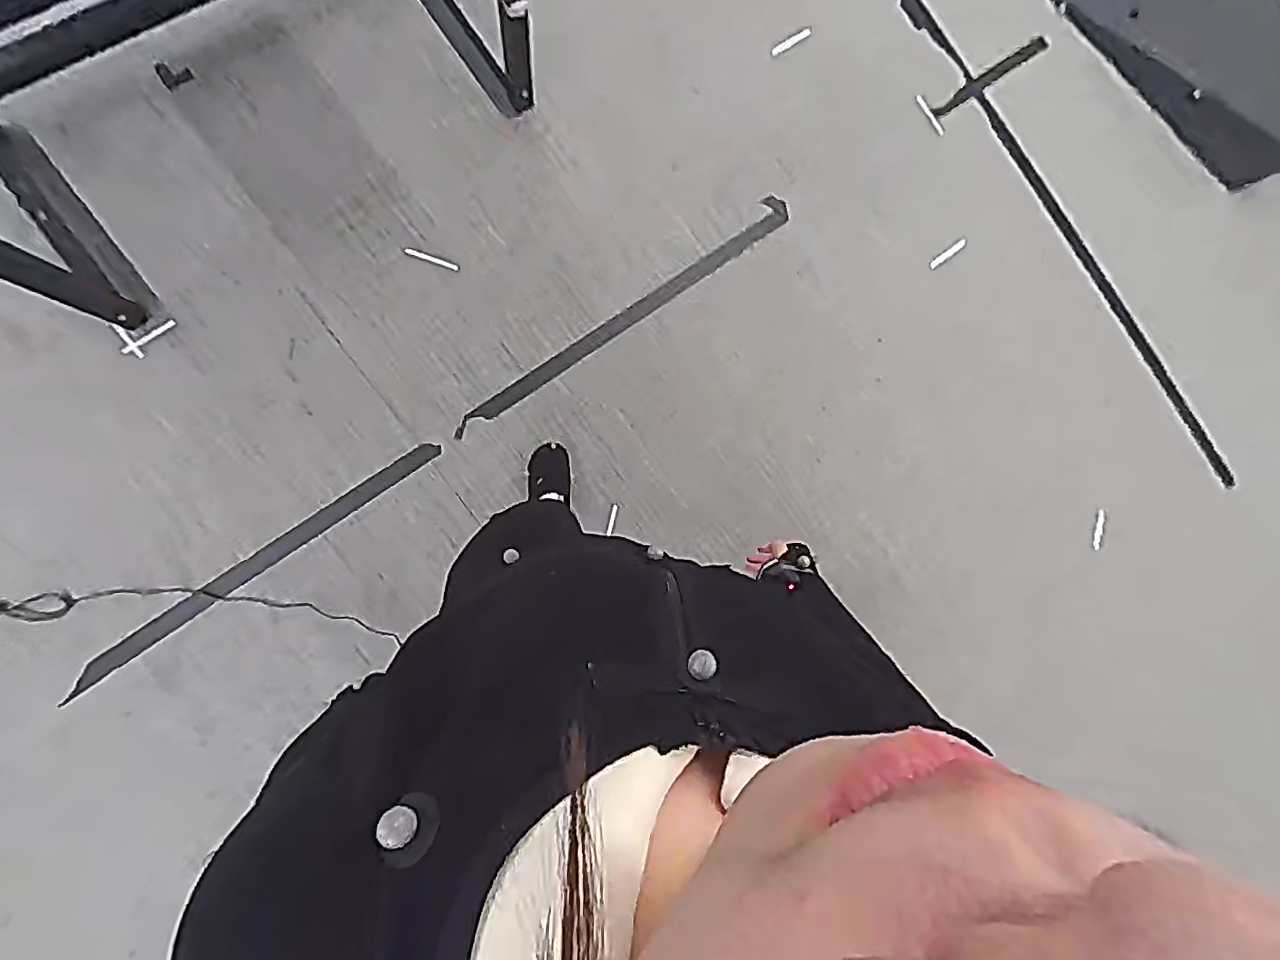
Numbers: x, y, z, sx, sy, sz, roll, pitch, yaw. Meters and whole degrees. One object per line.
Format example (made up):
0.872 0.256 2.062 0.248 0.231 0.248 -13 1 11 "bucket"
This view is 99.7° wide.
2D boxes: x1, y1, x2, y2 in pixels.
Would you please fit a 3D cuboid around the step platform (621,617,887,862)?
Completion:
0.298 0.655 1.420 0.684 0.204 0.286 -30 92 -10 "step platform"

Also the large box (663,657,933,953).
0.317 0.662 1.181 0.408 0.320 0.320 -32 93 -10 "large box"
